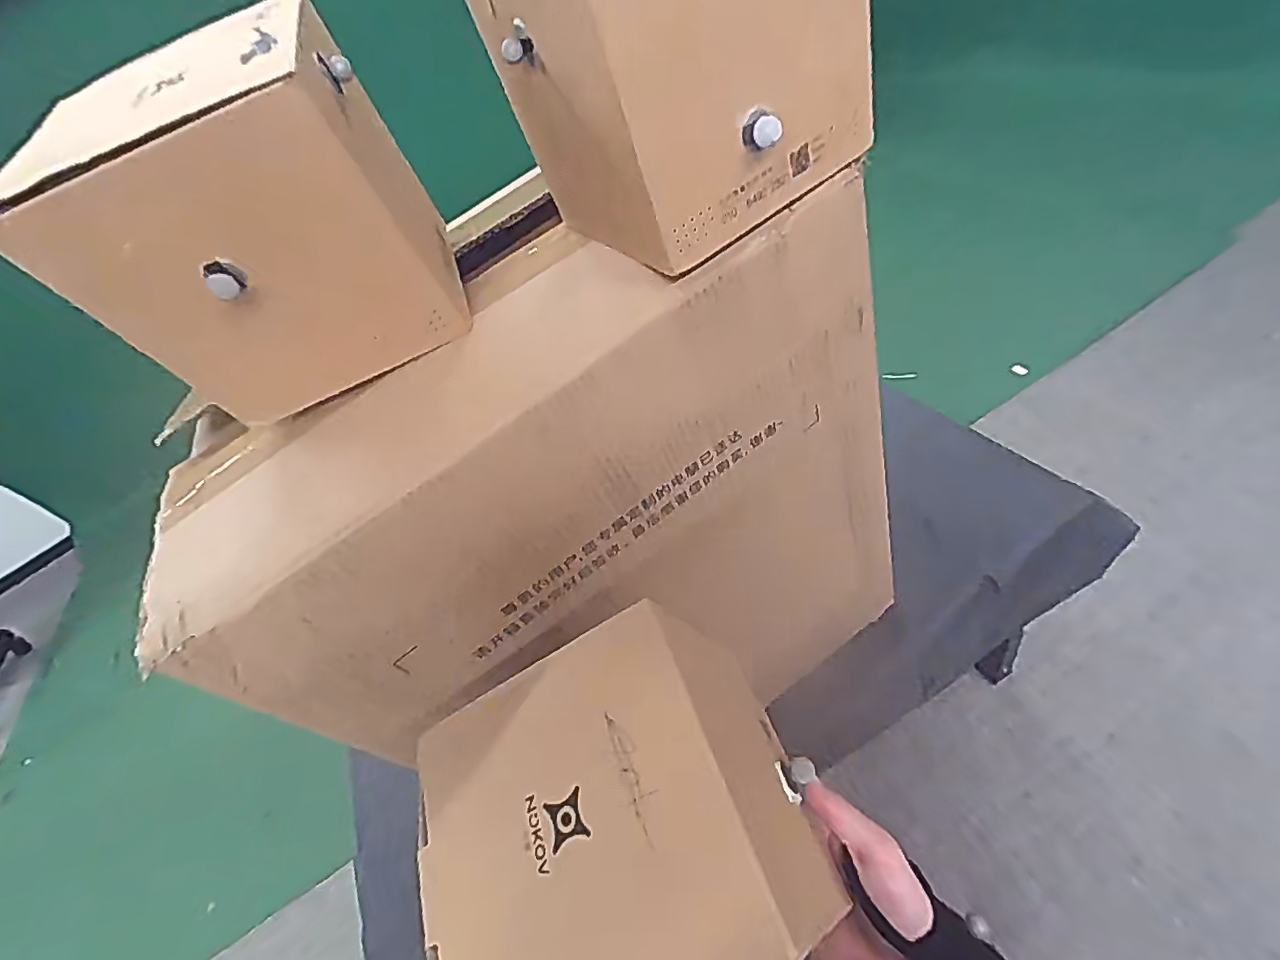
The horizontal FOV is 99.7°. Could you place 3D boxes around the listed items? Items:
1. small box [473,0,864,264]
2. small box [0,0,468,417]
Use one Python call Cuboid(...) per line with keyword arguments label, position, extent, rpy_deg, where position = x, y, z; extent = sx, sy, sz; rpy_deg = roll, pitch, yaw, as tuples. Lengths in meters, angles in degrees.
Cuboid(label="small box", position=(0.016, -0.265, 0.342), extent=(0.168, 0.176, 0.179), rpy_deg=(-36, 46, -7))
Cuboid(label="small box", position=(-0.245, -0.172, 0.366), extent=(0.179, 0.176, 0.168), rpy_deg=(-25, 56, 2))
